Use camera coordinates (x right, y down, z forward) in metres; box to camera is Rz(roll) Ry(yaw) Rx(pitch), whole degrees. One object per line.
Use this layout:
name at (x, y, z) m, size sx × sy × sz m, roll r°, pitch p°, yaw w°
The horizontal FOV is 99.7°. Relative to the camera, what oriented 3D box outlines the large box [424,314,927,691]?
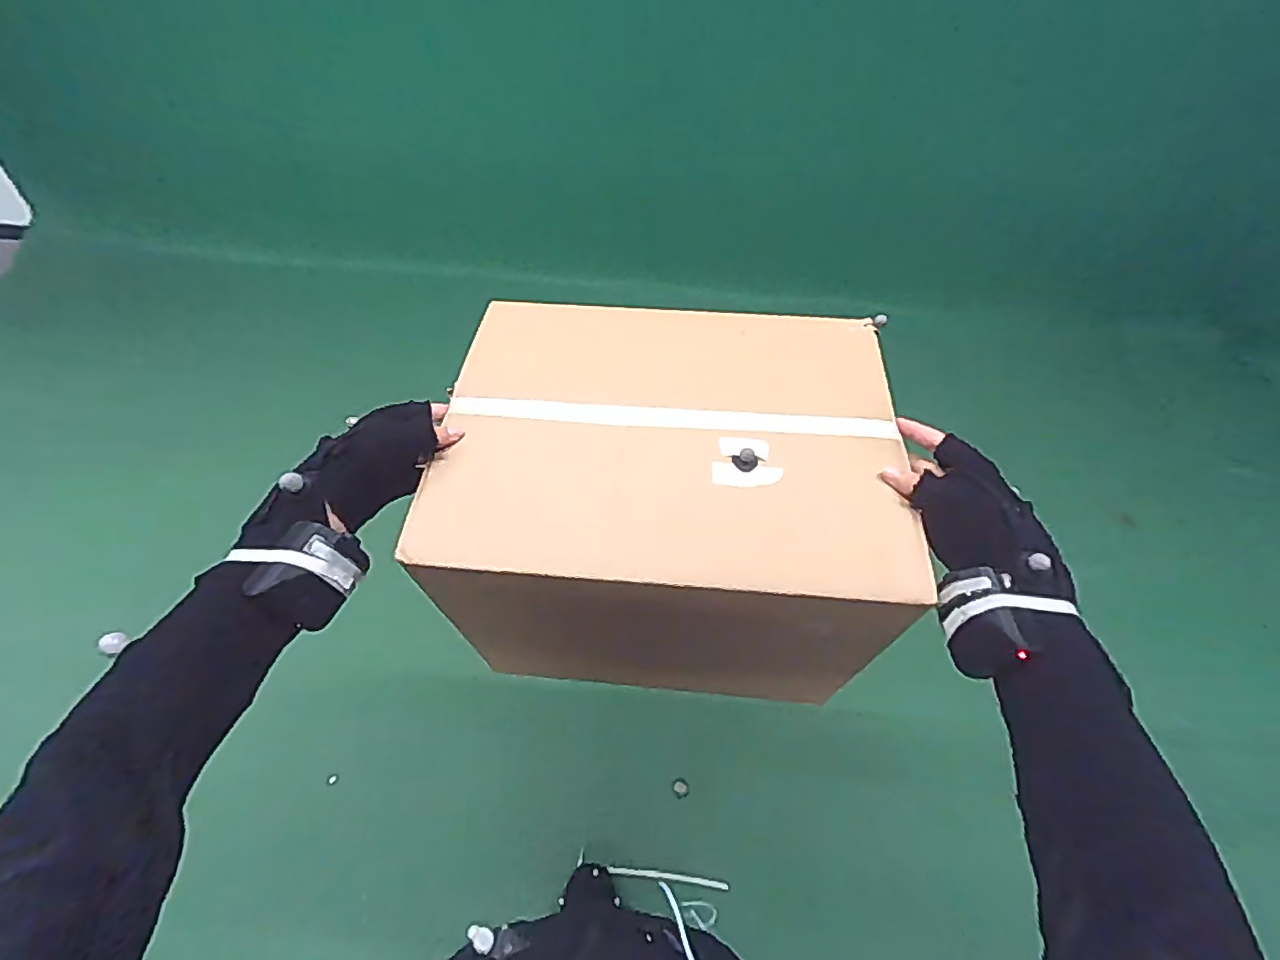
large box at (0.033, 0.037, 0.626) m, size 0.408 × 0.320 × 0.320 m, roll 4°, pitch 56°, yaw 3°
